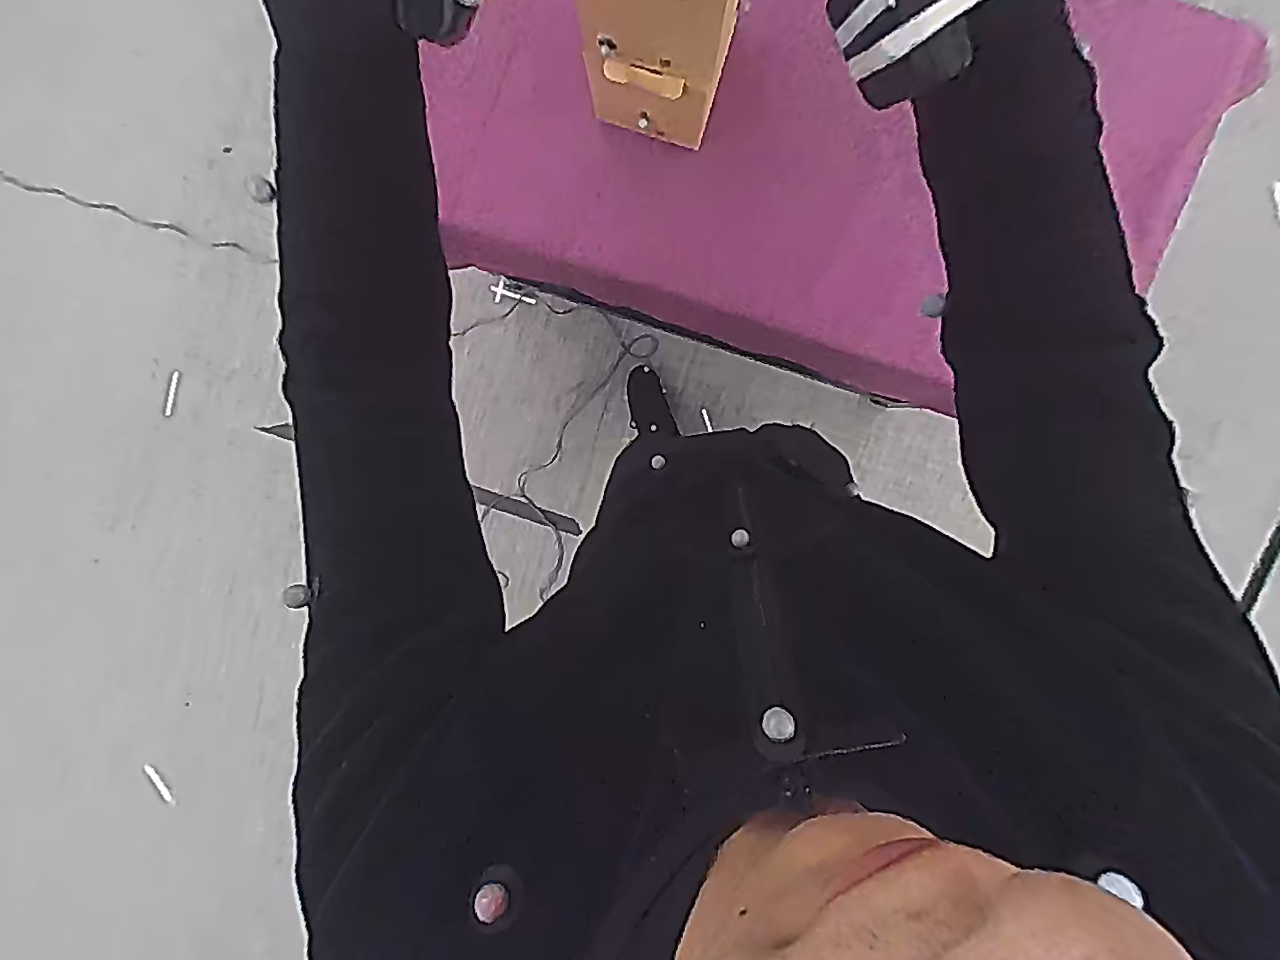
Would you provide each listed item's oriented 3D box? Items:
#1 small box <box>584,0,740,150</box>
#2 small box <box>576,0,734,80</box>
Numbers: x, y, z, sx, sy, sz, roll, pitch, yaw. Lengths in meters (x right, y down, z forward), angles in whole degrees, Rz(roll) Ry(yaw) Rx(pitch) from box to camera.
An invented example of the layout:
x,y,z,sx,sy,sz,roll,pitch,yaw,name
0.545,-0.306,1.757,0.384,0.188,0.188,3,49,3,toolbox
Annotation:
x,y,z,sx,sy,sz,roll,pitch,yaw,name
0.033,-0.594,0.732,0.168,0.176,0.179,17,98,-1,small box
0.028,-0.572,0.570,0.168,0.176,0.179,13,97,-1,small box
